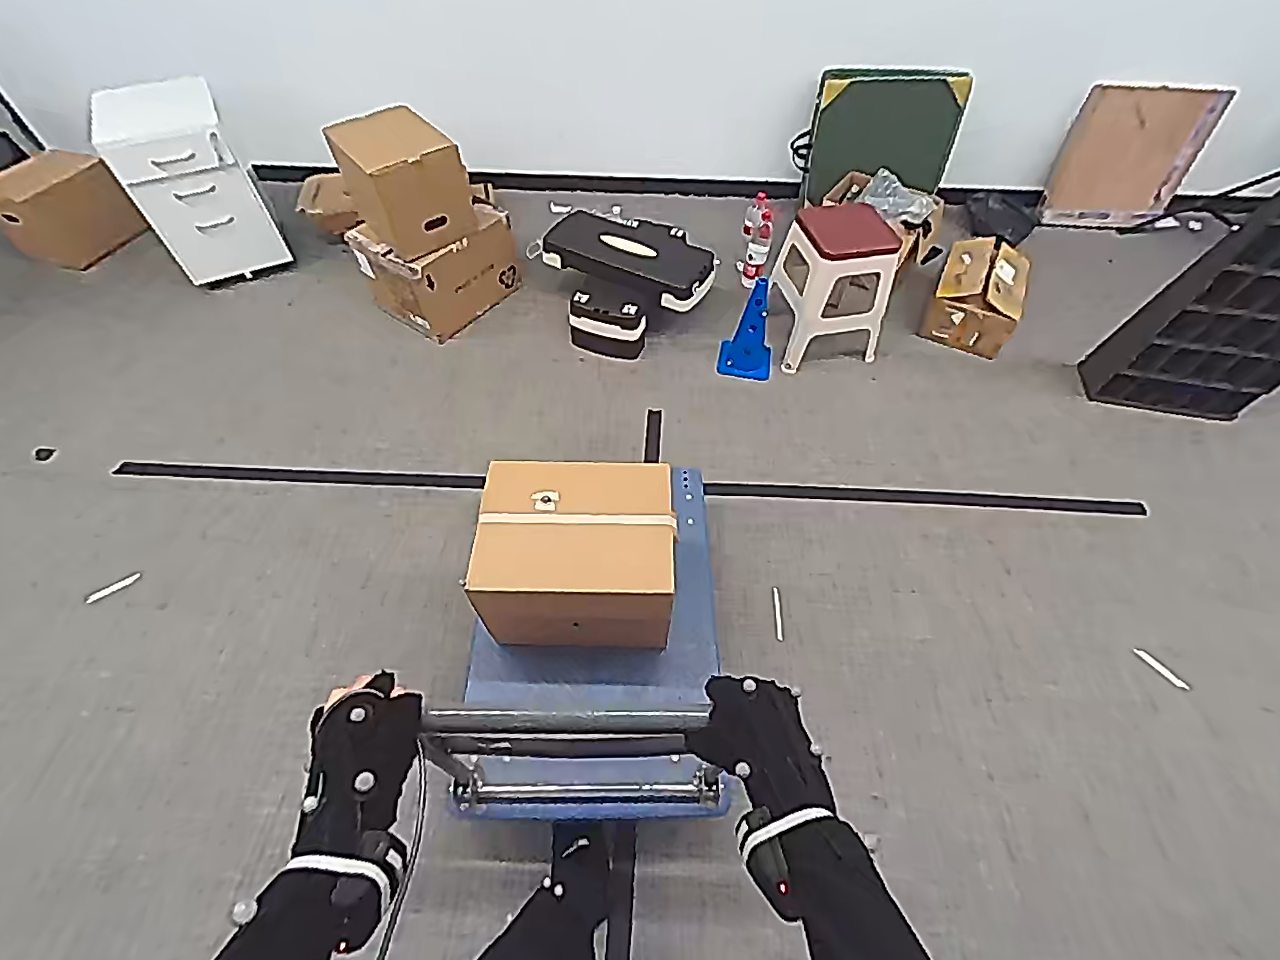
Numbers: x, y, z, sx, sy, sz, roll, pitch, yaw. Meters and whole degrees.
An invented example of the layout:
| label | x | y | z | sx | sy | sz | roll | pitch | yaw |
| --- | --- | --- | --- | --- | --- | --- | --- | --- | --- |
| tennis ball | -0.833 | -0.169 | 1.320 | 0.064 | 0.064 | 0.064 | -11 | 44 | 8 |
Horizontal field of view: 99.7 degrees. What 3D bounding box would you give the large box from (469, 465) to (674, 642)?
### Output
| label | x | y | z | sx | sy | sz | roll | pitch | yaw |
| --- | --- | --- | --- | --- | --- | --- | --- | --- | --- |
| large box | -0.132 | 0.178 | 1.248 | 0.408 | 0.320 | 0.320 | 1 | 54 | 0 |
